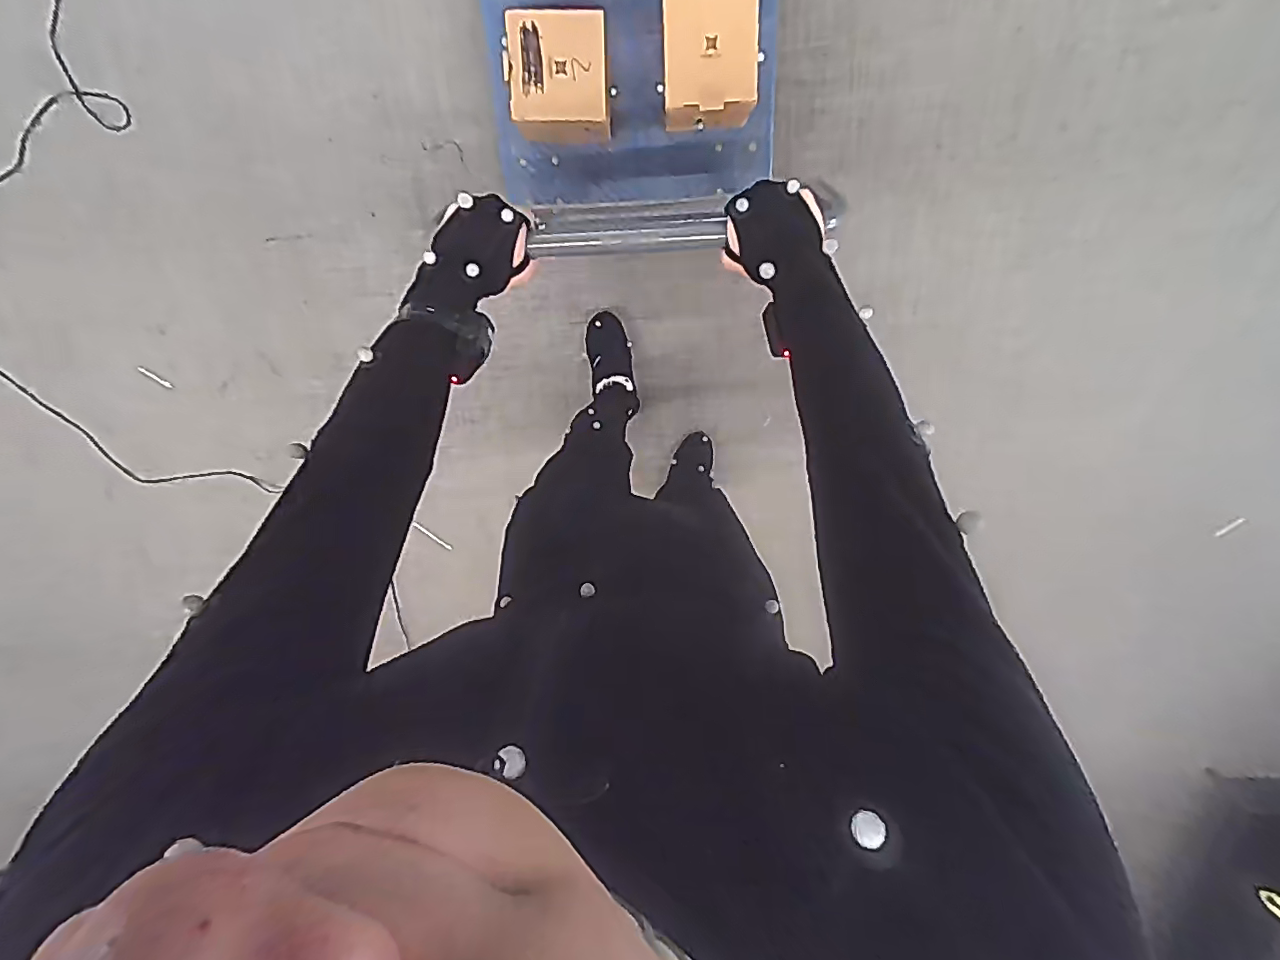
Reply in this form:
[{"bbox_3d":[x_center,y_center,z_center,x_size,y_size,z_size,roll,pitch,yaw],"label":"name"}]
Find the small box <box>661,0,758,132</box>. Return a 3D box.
[{"bbox_3d":[0.125,-0.785,1.027,0.168,0.176,0.179,-2,111,2],"label":"small box"}]
